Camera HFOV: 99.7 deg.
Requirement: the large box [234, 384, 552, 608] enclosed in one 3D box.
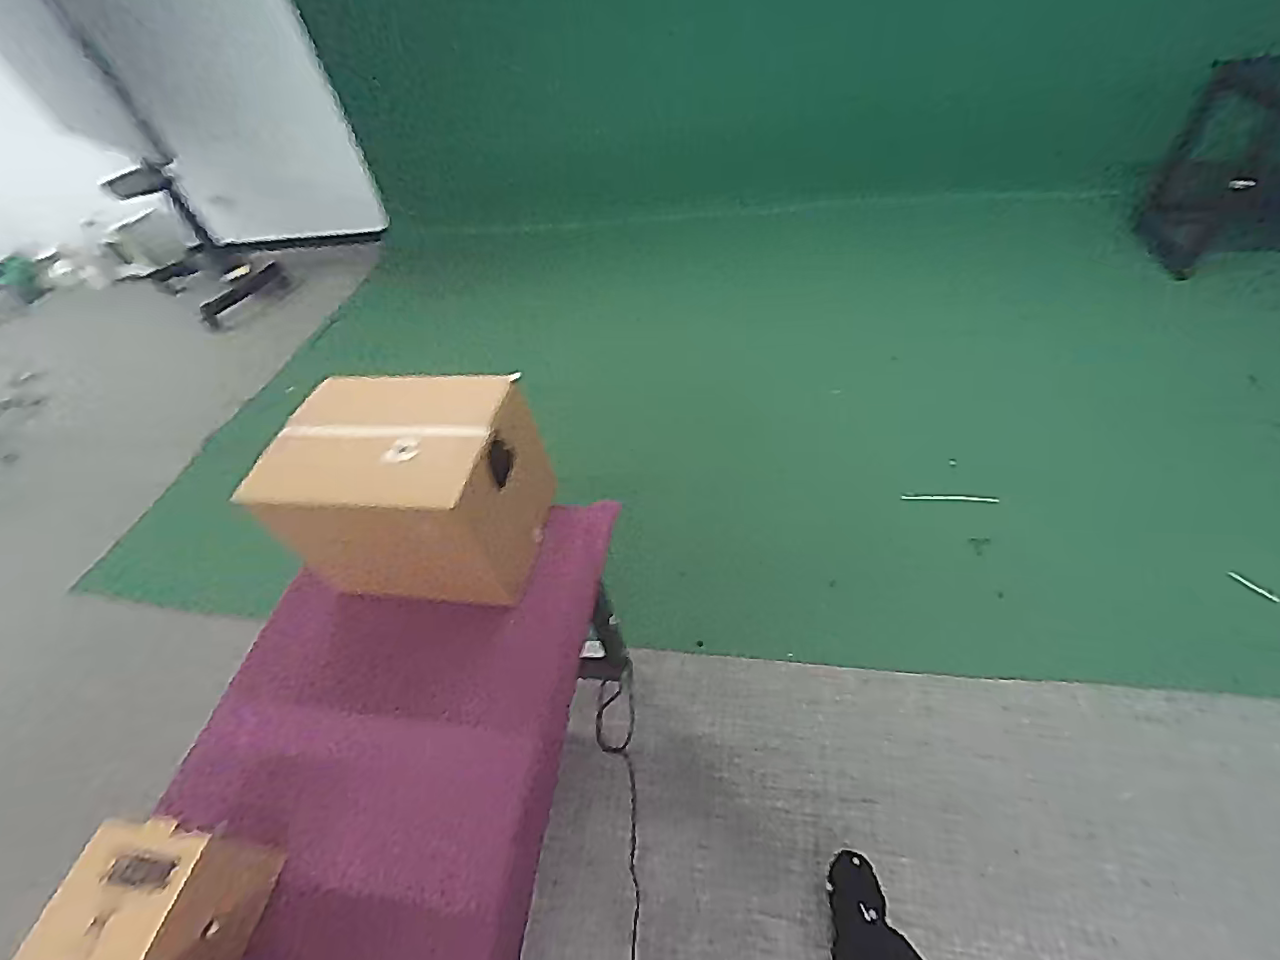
[{"bbox_3d":[-0.428,0.032,1.045,0.408,0.320,0.320,2,50,11],"label":"large box"}]
